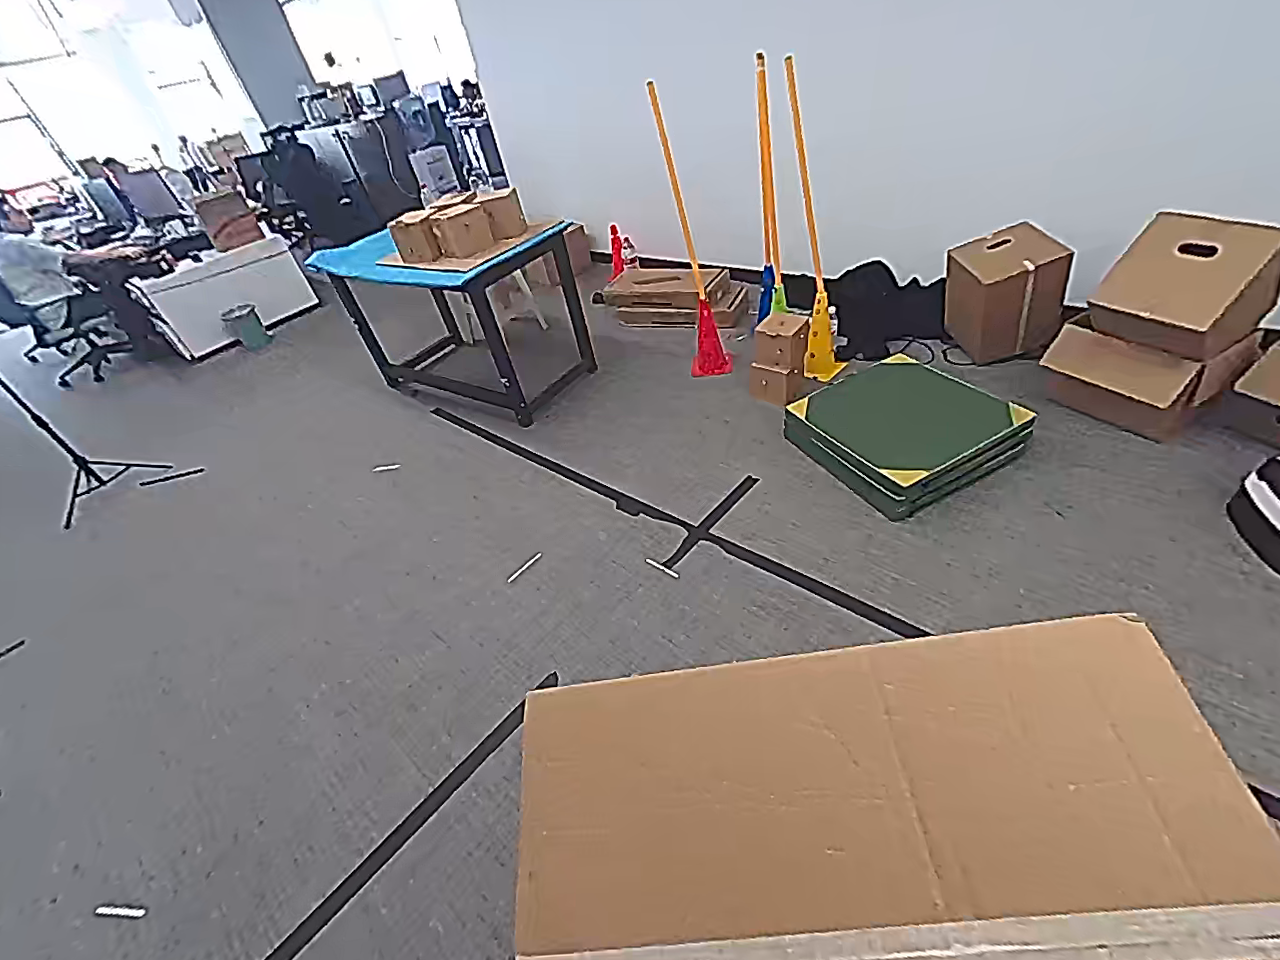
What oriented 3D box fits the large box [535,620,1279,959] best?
[{"bbox_3d":[0.160,0.333,0.413,0.408,0.320,0.320,-10,57,8],"label":"large box"}]
